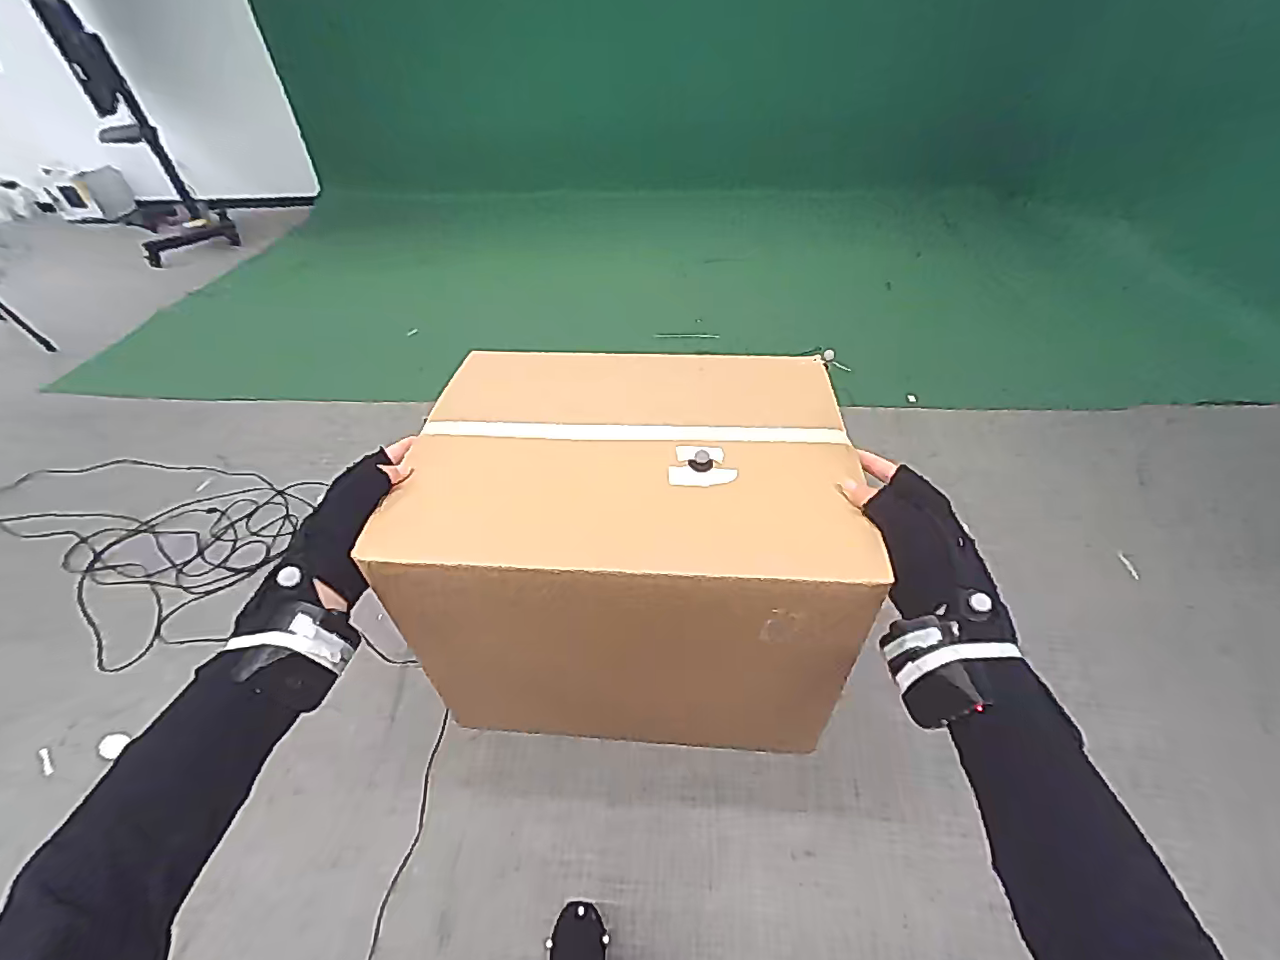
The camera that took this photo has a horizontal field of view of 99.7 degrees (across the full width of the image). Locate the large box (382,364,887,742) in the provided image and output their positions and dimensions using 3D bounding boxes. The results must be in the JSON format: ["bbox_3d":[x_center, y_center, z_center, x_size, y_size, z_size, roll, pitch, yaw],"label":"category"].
[{"bbox_3d":[0.000,0.078,0.625,0.408,0.320,0.320,2,43,4],"label":"large box"}]
